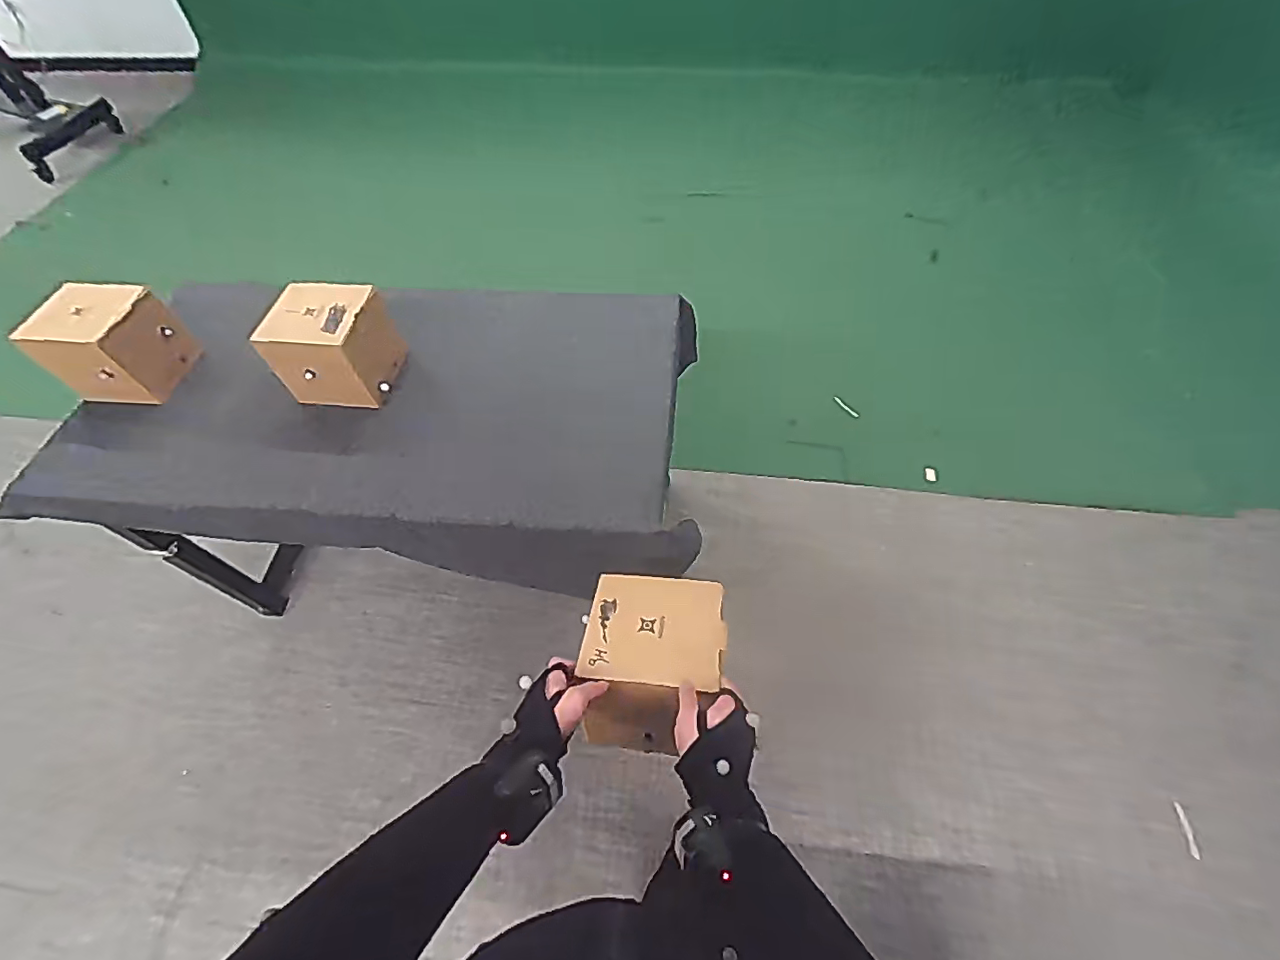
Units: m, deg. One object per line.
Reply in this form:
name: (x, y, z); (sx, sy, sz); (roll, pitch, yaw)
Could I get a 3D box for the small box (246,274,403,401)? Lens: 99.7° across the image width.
small box: (-0.590, -0.270, 1.042); (0.179, 0.176, 0.168); (5, 56, 5)

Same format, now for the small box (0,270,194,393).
small box: (-1.041, -0.286, 1.058); (0.179, 0.176, 0.168); (3, 55, 4)

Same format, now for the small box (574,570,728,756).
small box: (0.020, 0.247, 0.731); (0.179, 0.176, 0.168); (5, 38, 7)
